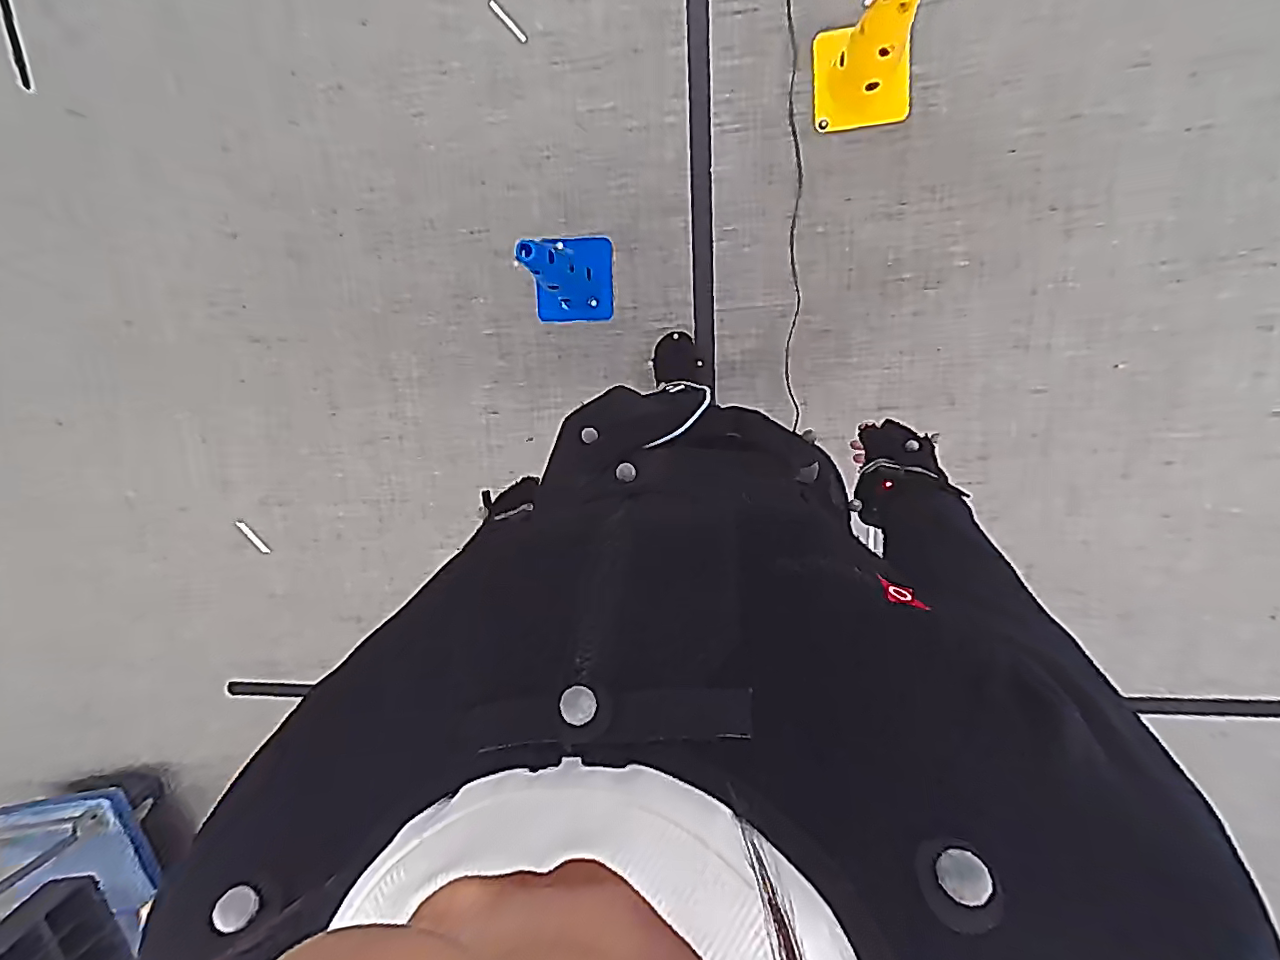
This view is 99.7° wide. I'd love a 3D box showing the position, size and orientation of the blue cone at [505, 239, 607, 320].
[{"bbox_3d":[-0.201,-0.474,1.208,0.192,0.380,0.193,3,102,9],"label":"blue cone"}]
